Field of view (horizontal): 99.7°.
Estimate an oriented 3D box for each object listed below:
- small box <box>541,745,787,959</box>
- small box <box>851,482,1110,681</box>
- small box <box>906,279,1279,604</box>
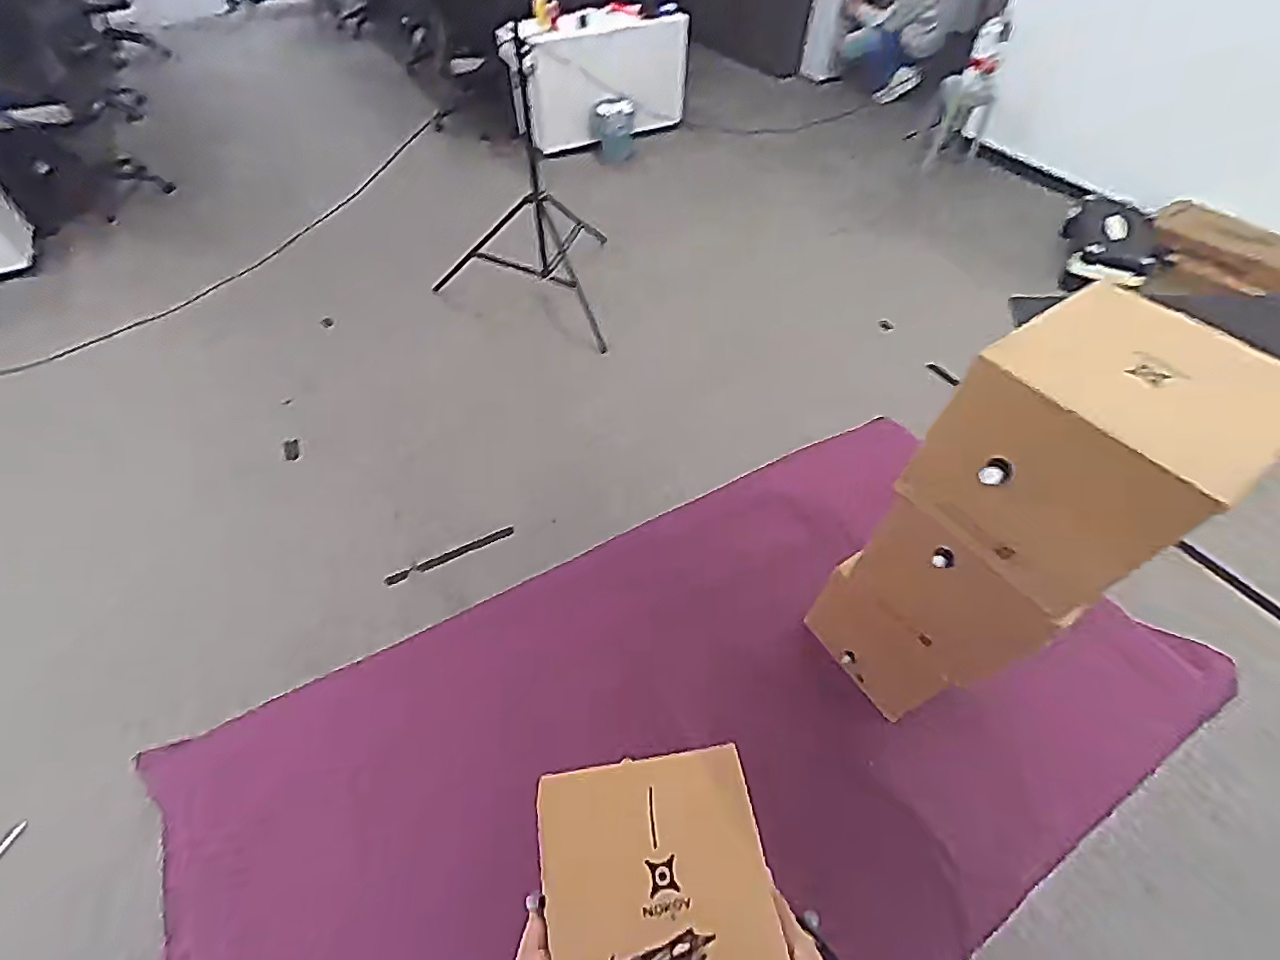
[{"bbox_3d":[0.004,0.342,0.455,0.168,0.176,0.179,-1,53,-13],"label":"small box"},{"bbox_3d":[0.358,0.076,0.572,0.179,0.176,0.168,-29,57,-22],"label":"small box"},{"bbox_3d":[0.354,-0.029,0.447,0.179,0.176,0.168,-29,58,-21],"label":"small box"}]
